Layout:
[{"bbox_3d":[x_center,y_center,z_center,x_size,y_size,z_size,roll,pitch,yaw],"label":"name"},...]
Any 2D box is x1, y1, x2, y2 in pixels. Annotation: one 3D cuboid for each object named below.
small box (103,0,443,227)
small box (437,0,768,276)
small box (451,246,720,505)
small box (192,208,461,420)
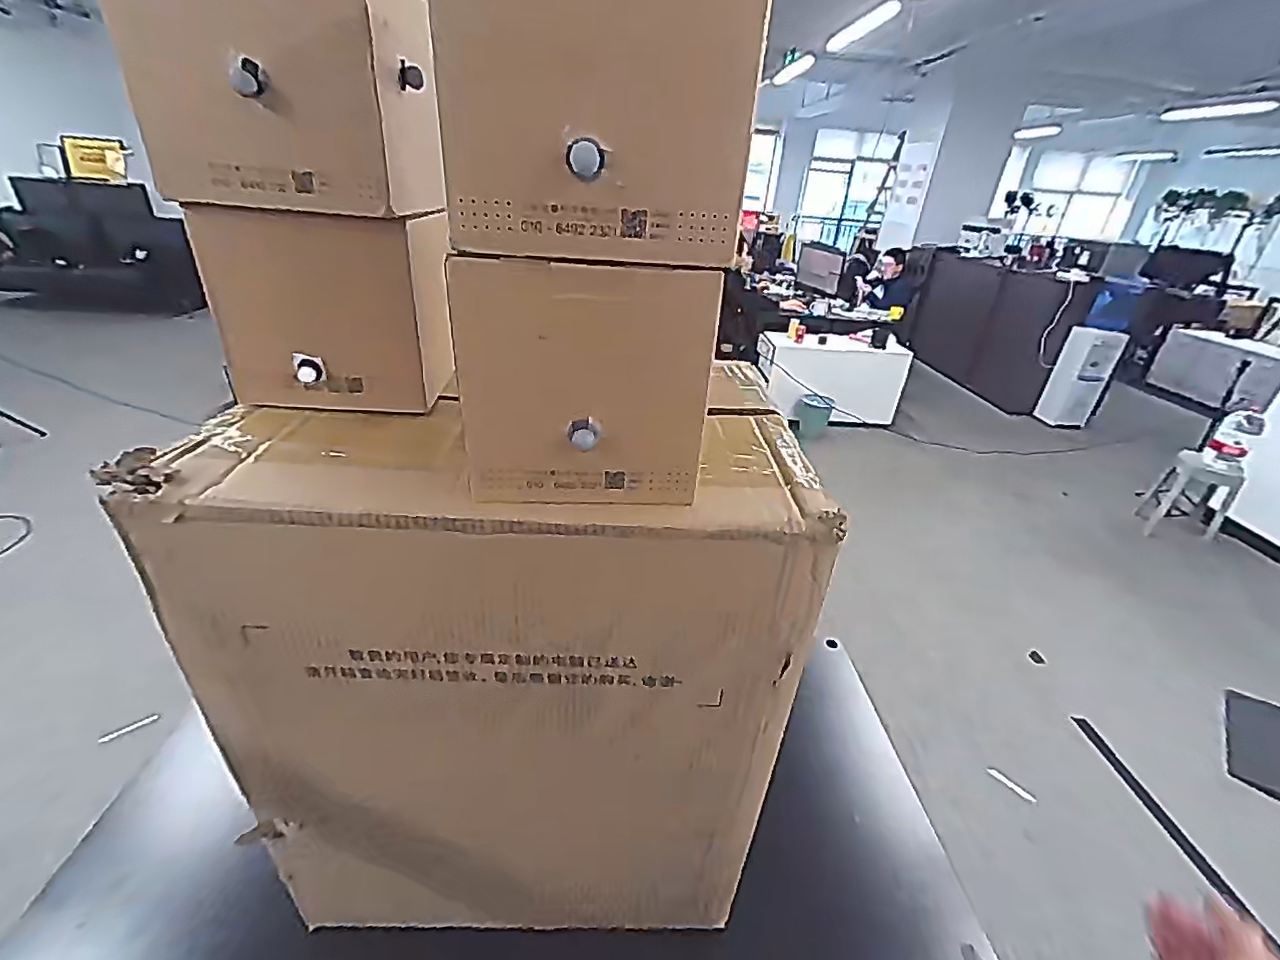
[{"bbox_3d":[-0.268,-0.306,0.440,0.168,0.176,0.179,1,29,-6],"label":"small box"},{"bbox_3d":[-0.026,-0.237,0.350,0.168,0.176,0.179,1,30,-4],"label":"small box"},{"bbox_3d":[-0.041,-0.096,0.434,0.168,0.176,0.179,0,29,-4],"label":"small box"},{"bbox_3d":[-0.278,-0.170,0.532,0.168,0.176,0.179,0,30,-7],"label":"small box"}]
